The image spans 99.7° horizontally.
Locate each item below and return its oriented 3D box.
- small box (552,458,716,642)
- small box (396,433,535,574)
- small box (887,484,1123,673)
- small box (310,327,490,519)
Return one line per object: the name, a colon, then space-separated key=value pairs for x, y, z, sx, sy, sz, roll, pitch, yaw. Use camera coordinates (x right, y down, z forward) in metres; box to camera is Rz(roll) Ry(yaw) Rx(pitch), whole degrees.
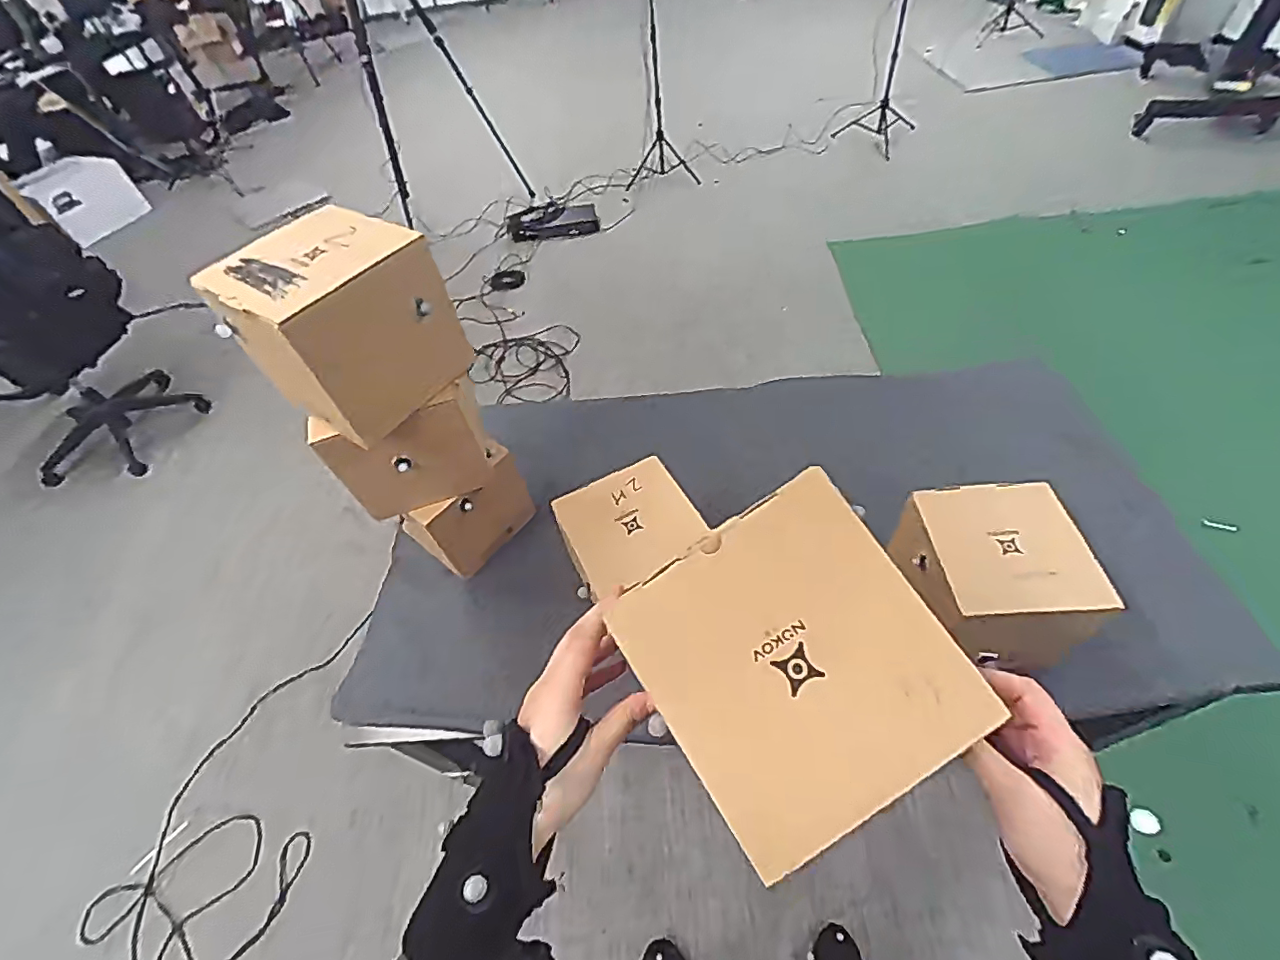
small box: x=-0.003 y=0.107 z=0.766 sx=0.168 sy=0.176 sz=0.179 roll=-24 pitch=52 yaw=-12
small box: x=-0.301 y=0.023 z=0.877 sx=0.179 sy=0.176 sz=0.168 roll=30 pitch=62 yaw=27
small box: x=0.435 y=0.128 z=0.687 sx=0.168 sy=0.176 sz=0.179 roll=-5 pitch=51 yaw=5
small box: x=-0.319 y=-0.075 z=0.746 sx=0.179 sy=0.176 sz=0.168 roll=-20 pitch=53 yaw=-7
